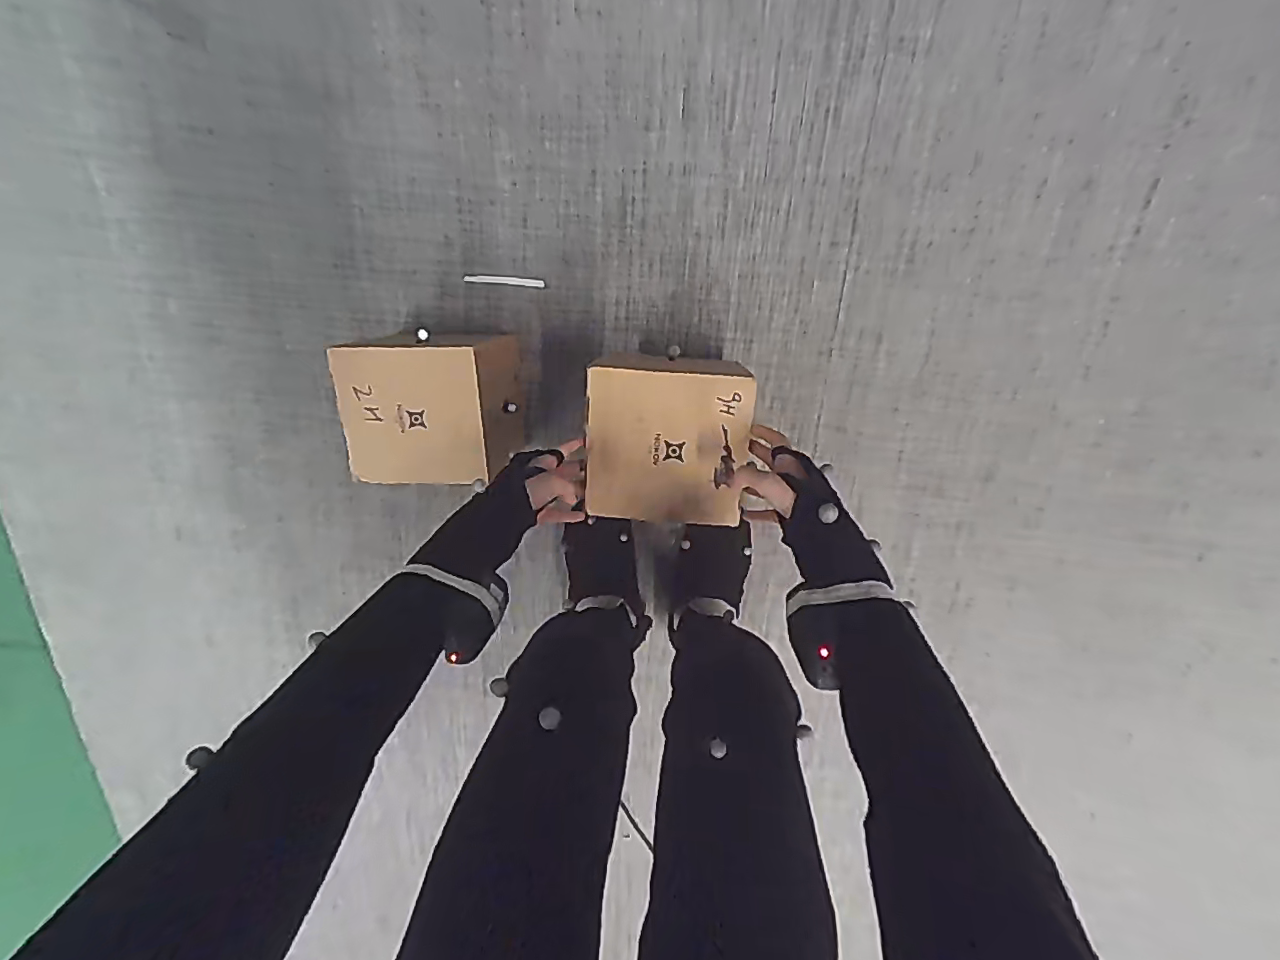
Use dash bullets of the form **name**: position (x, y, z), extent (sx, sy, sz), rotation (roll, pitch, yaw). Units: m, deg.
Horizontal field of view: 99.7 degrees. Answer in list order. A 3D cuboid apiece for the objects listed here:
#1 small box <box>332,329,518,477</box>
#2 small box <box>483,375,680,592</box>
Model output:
- **small box**: position (-0.267, -0.110, 0.725), extent (0.179, 0.176, 0.168), rotation (1, 110, 4)
- **small box**: position (-0.068, 0.002, 0.618), extent (0.168, 0.179, 0.176), rotation (16, 136, -22)
